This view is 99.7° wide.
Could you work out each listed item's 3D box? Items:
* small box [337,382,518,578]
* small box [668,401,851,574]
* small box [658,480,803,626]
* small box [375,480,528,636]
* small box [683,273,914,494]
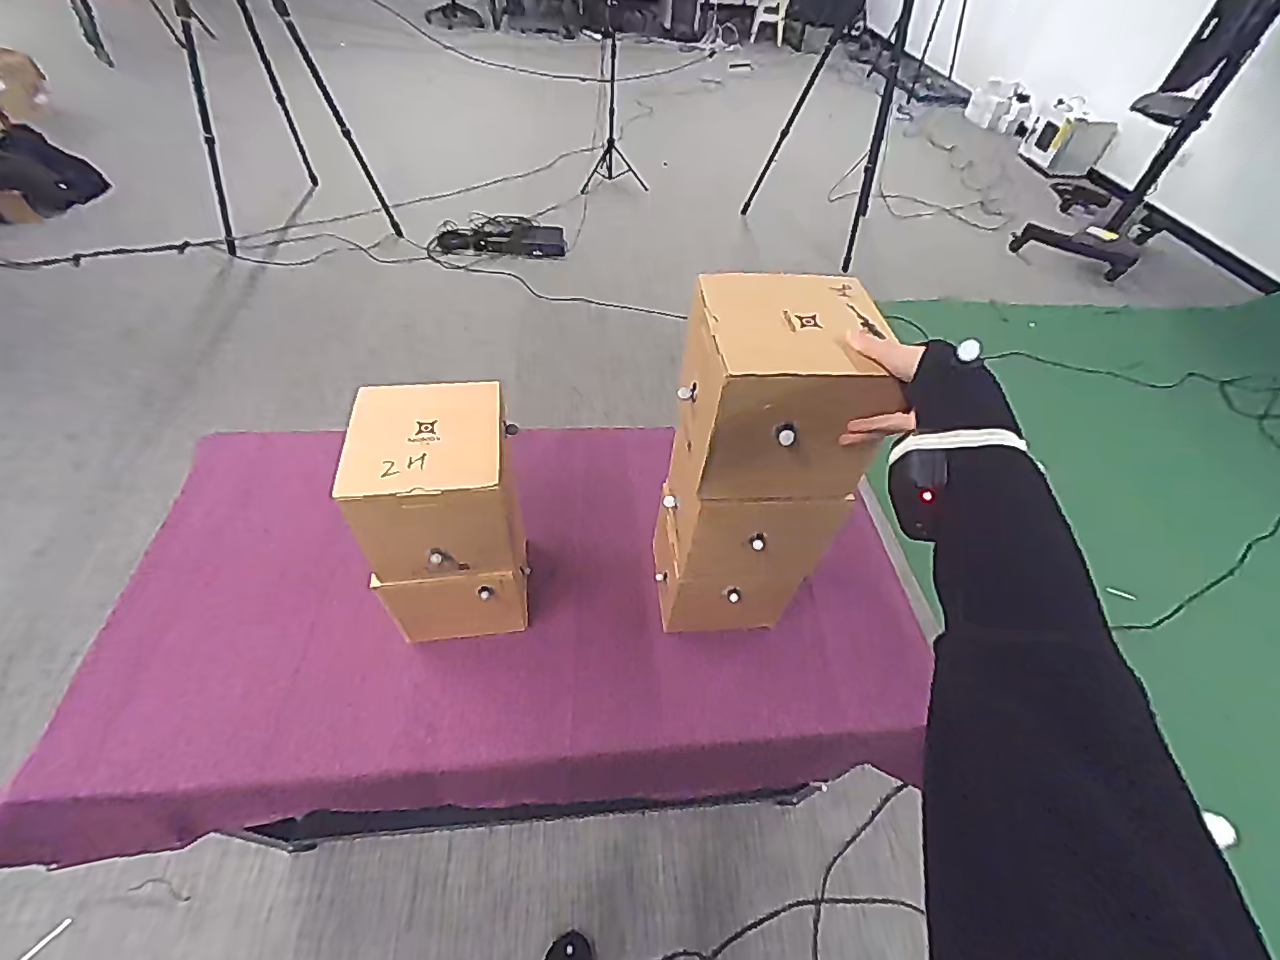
[{"bbox_3d":[-0.245,0.000,0.671,0.168,0.176,0.179,-4,50,-9],"label":"small box"},{"bbox_3d":[0.137,0.009,0.697,0.179,0.176,0.168,-2,51,-5],"label":"small box"},{"bbox_3d":[0.122,0.112,0.823,0.179,0.176,0.168,-1,51,-6],"label":"small box"},{"bbox_3d":[-0.261,0.114,0.790,0.179,0.176,0.168,-4,50,-10],"label":"small box"},{"bbox_3d":[0.142,-0.097,0.569,0.179,0.176,0.168,-2,50,-6],"label":"small box"}]
